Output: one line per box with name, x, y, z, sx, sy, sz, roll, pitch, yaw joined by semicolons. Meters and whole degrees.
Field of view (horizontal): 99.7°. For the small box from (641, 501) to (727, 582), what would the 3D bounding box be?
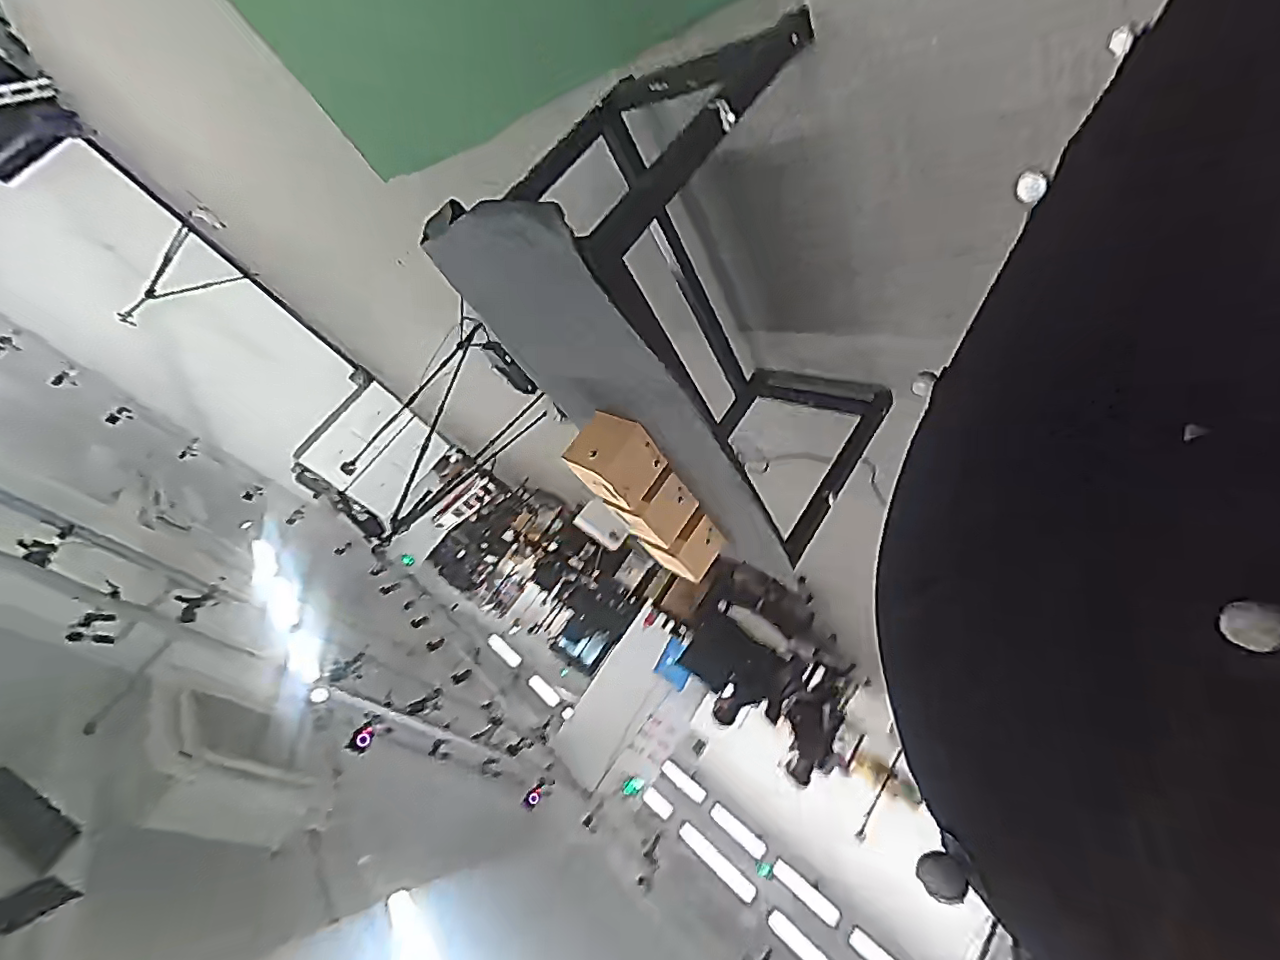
small box;0.142;0.188;1.715;0.179;0.176;0.168;21;158;46
